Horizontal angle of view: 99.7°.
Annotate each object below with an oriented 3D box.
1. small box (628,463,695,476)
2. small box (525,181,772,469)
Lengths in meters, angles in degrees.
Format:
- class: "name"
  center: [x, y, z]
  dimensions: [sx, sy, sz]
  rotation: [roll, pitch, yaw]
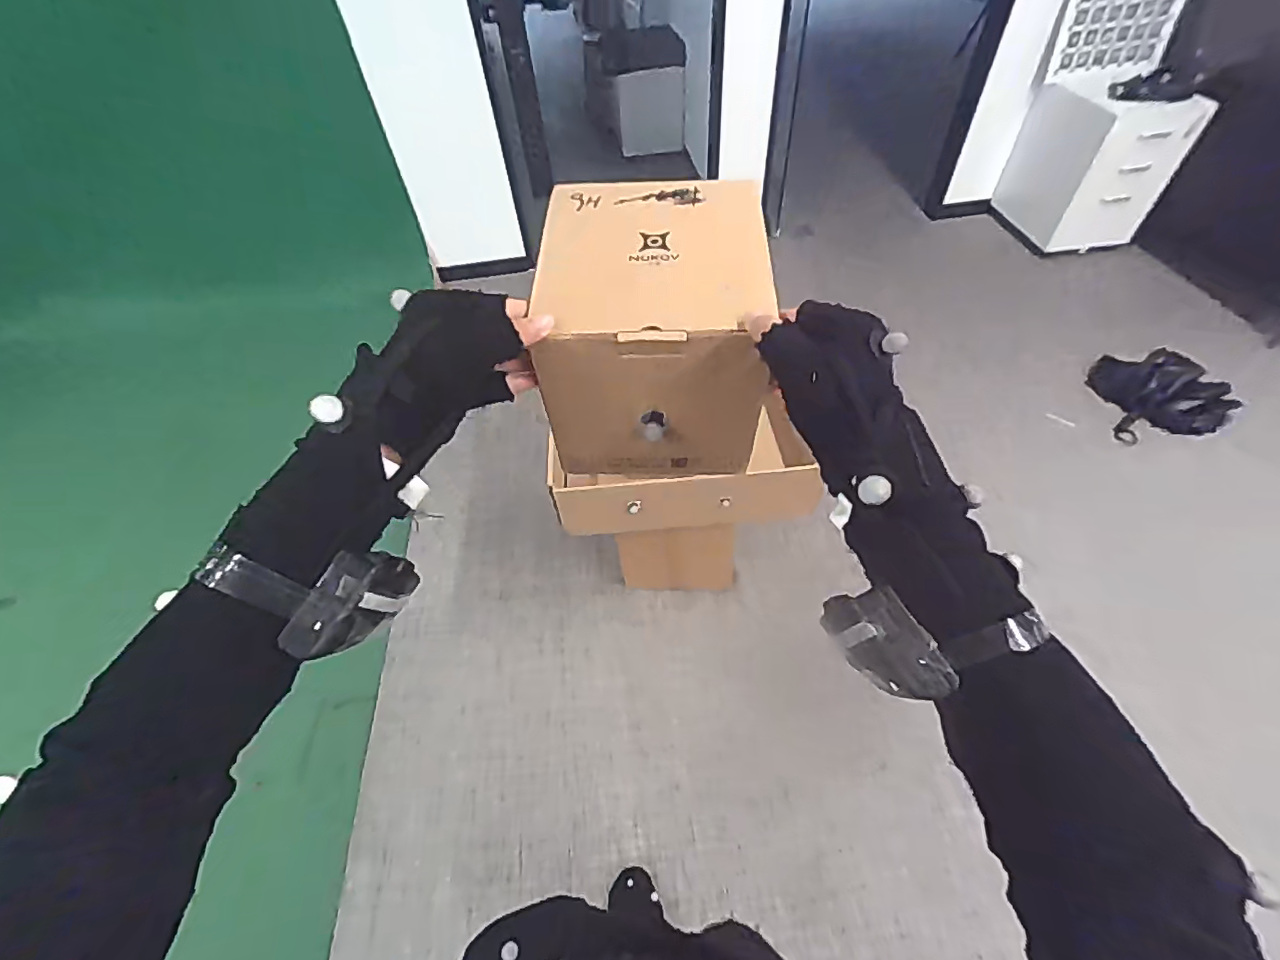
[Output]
- class: "small box"
  center: [0.050, -0.121, 1.321]
  dimensions: [0.168, 0.176, 0.179]
  rotation: [-2, 48, -1]
- class: "small box"
  center: [0.012, -0.122, 0.459]
  dimensions: [0.168, 0.176, 0.179]
  rotation: [1, 59, 3]
